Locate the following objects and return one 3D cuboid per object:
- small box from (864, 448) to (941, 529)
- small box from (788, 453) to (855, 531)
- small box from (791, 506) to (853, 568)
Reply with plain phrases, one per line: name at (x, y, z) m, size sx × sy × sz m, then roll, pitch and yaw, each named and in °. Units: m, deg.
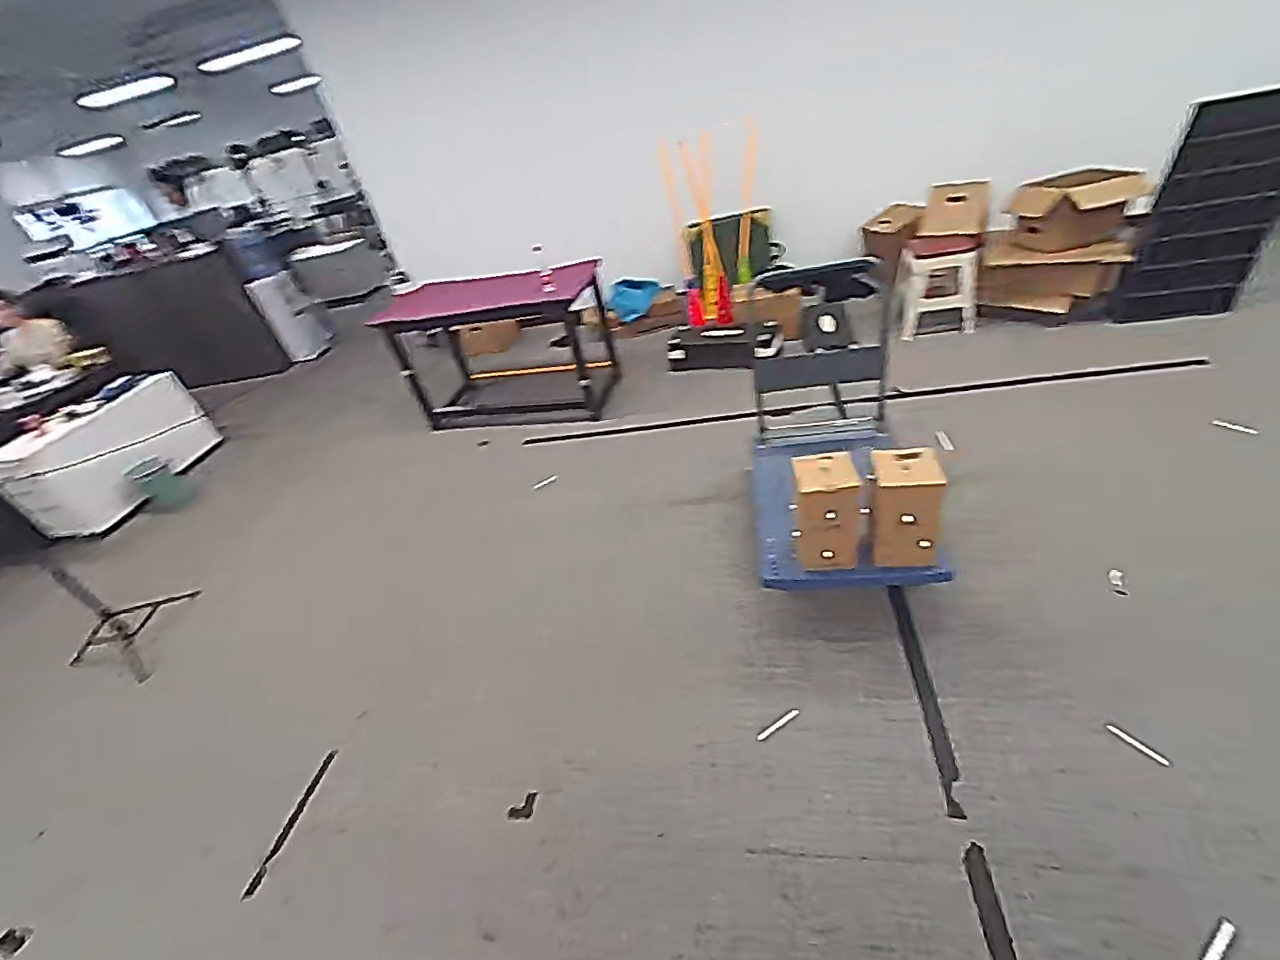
small box at (0.762, 0.026, 1.590) m, size 0.168 × 0.176 × 0.179 m, roll -3°, pitch 38°, yaw 14°
small box at (0.548, 0.042, 1.642) m, size 0.168 × 0.176 × 0.179 m, roll -6°, pitch 37°, yaw 10°
small box at (0.582, 0.172, 1.739) m, size 0.168 × 0.176 × 0.179 m, roll -5°, pitch 36°, yaw 11°
